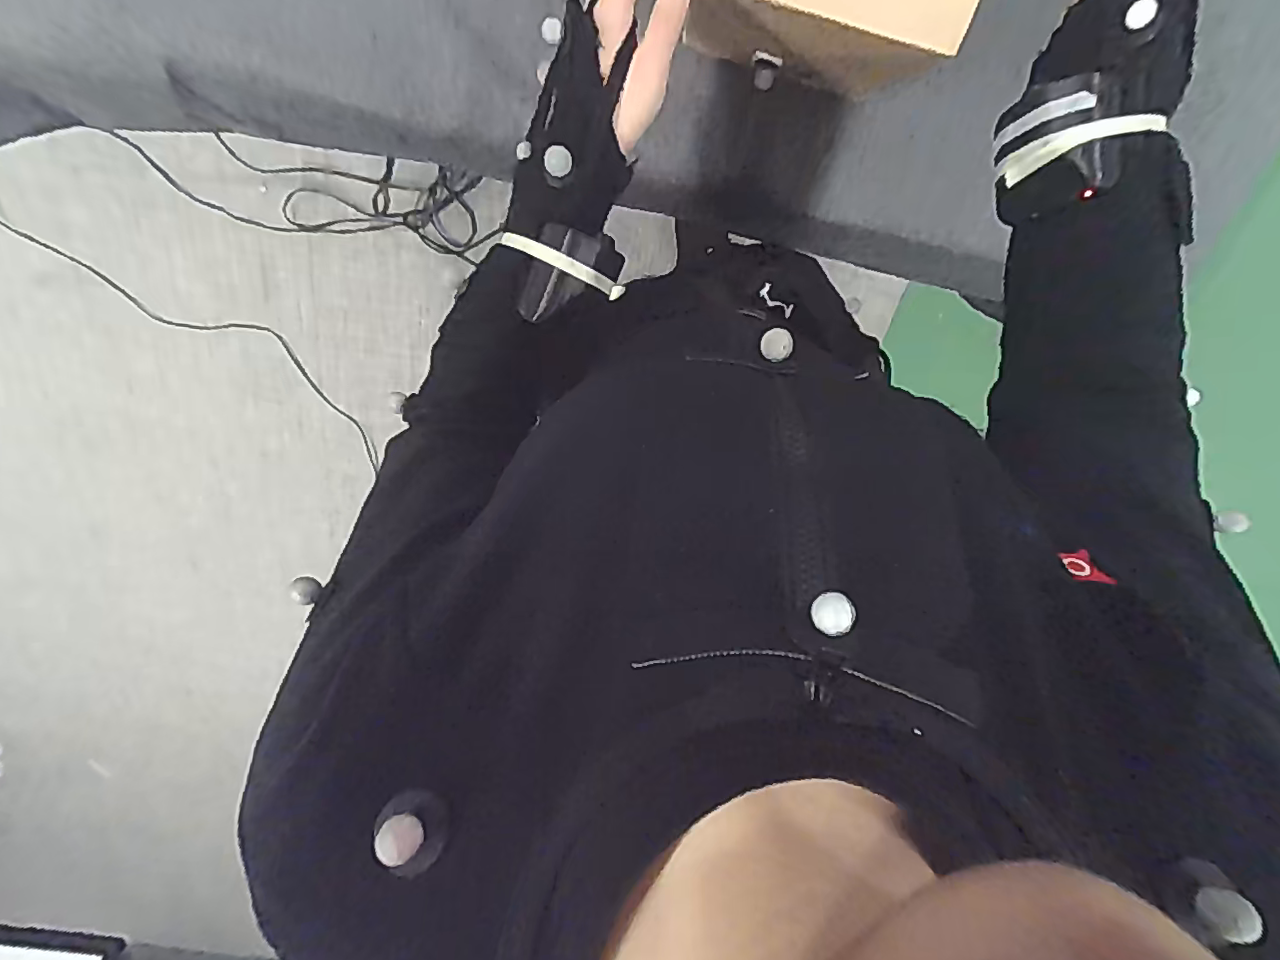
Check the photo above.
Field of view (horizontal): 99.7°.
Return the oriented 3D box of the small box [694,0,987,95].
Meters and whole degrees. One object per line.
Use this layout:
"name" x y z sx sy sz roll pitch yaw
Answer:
"small box" 0.135 -0.381 0.347 0.168 0.176 0.179 12 118 -4
